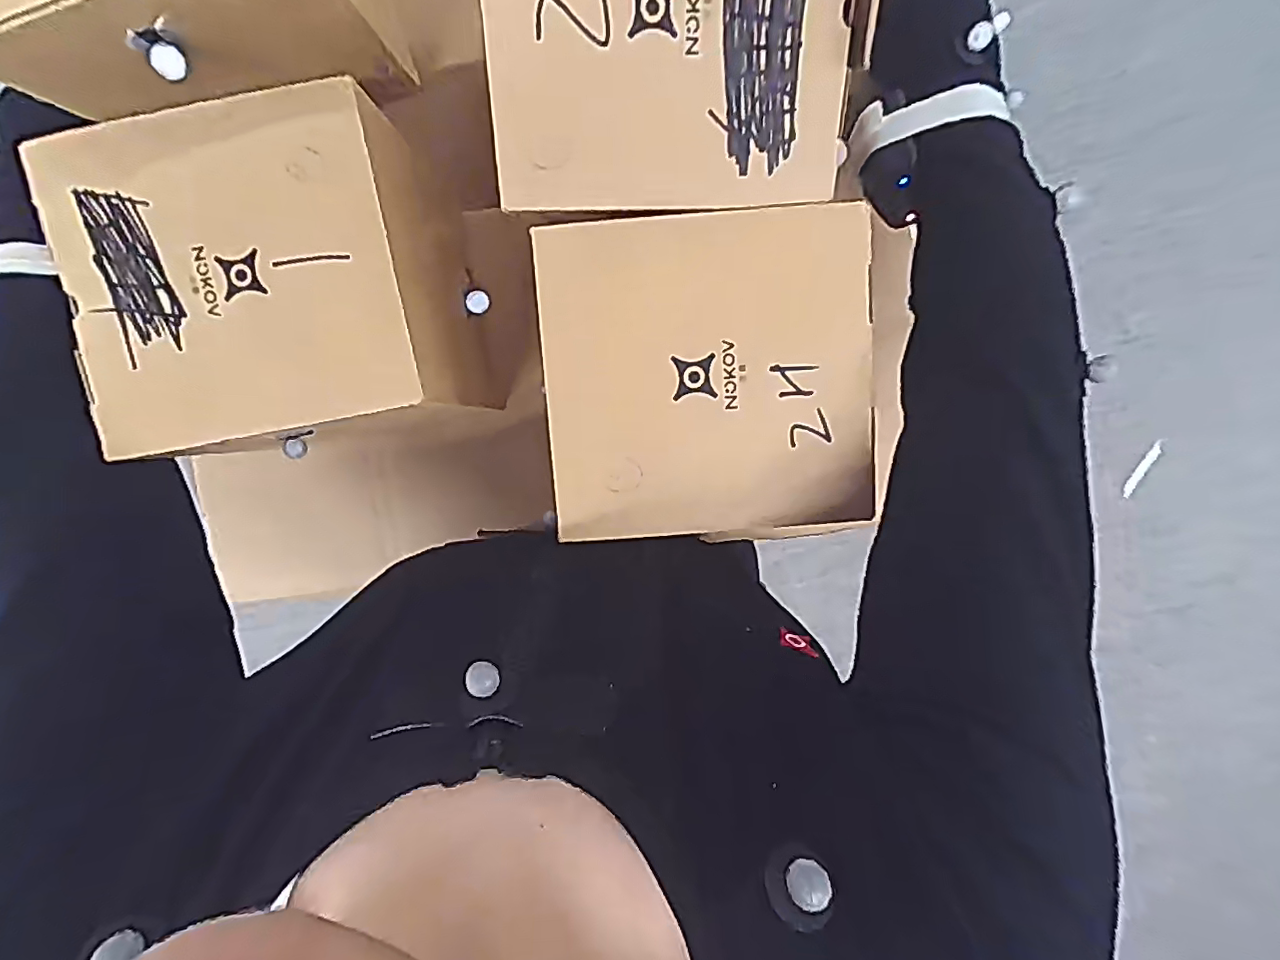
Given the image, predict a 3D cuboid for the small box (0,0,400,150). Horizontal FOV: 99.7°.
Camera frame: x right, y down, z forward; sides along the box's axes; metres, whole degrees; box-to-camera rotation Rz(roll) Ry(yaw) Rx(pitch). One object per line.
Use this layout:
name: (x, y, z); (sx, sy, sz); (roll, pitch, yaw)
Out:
small box: (-0.260, -0.318, 0.297); (0.179, 0.176, 0.168); (-17, 104, 4)
